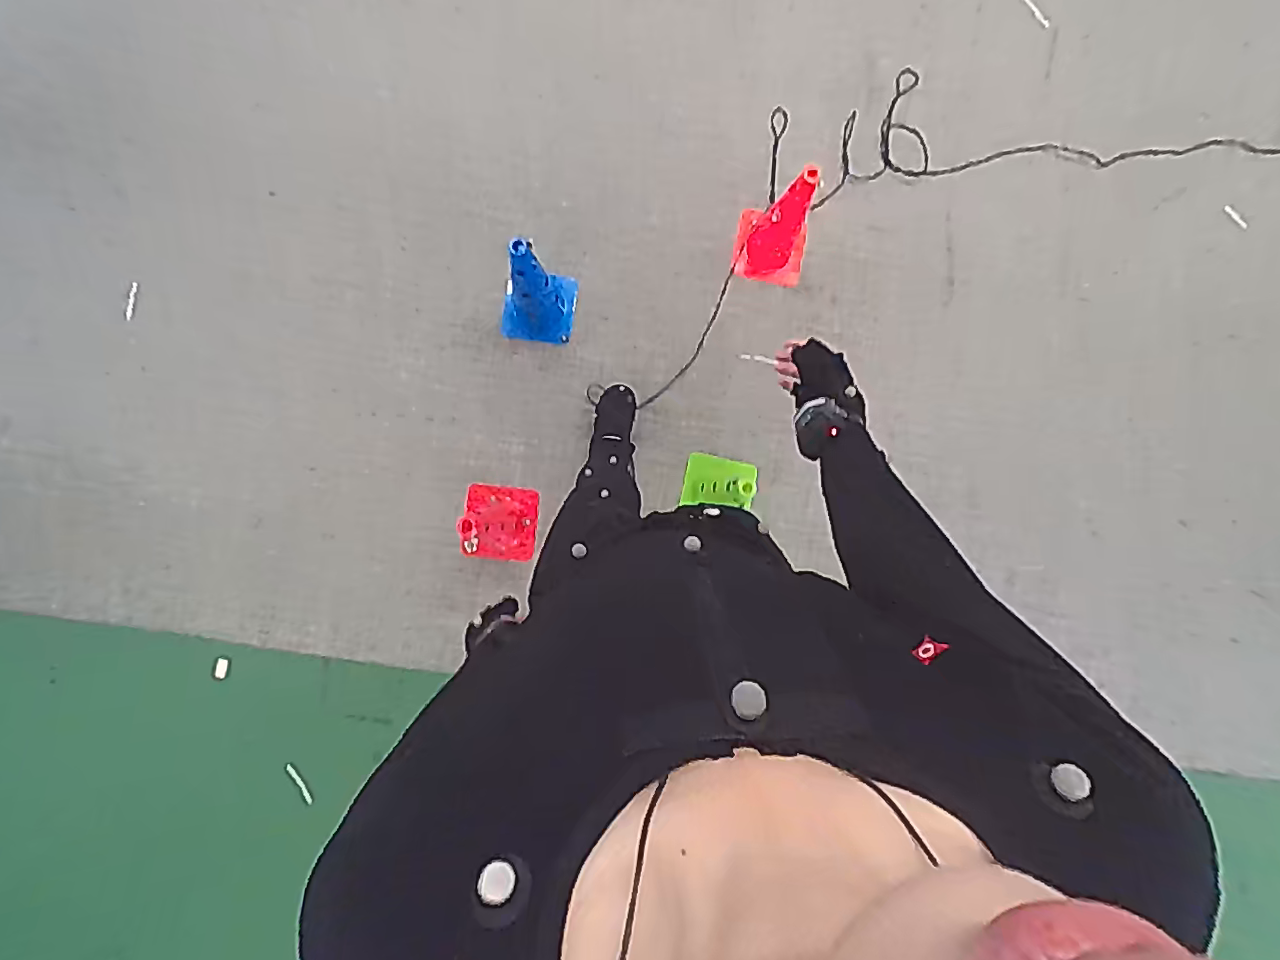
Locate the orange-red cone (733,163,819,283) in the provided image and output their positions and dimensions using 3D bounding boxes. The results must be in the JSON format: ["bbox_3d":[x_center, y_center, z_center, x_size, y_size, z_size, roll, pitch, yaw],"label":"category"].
[{"bbox_3d":[0.385,-0.688,1.395,0.198,0.360,0.199,13,88,0],"label":"orange-red cone"}]

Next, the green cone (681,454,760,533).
[{"bbox_3d":[0.236,0.026,1.345,0.200,0.368,0.202,11,85,-2],"label":"green cone"}]
